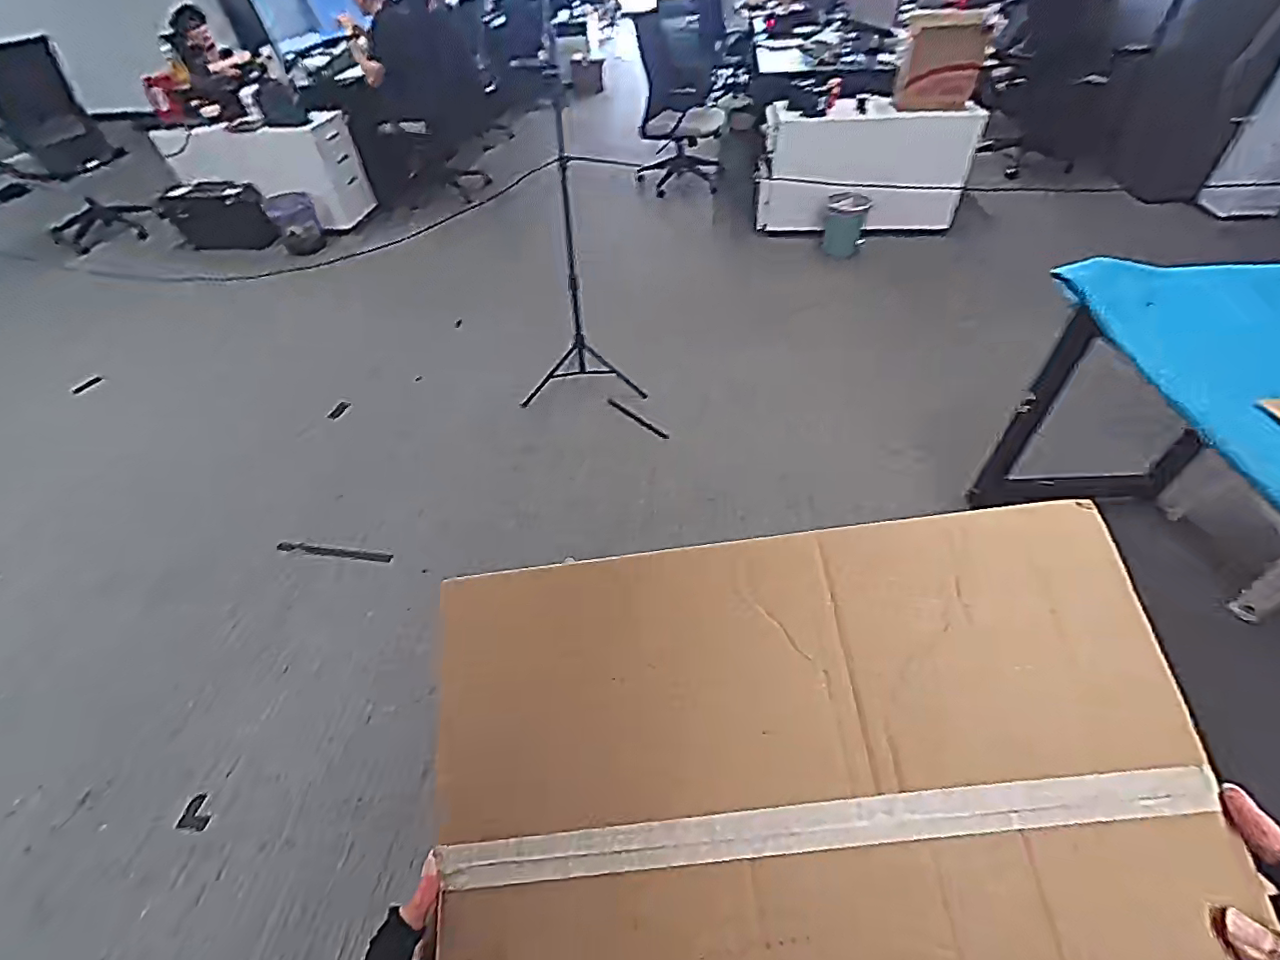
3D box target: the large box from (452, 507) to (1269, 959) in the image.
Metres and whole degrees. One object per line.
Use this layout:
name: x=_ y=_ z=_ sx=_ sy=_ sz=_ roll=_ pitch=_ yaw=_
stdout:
large box: x=0.105 y=0.241 z=0.430 sx=0.408 sy=0.320 sz=0.320 roll=-8 pitch=69 yaw=3
